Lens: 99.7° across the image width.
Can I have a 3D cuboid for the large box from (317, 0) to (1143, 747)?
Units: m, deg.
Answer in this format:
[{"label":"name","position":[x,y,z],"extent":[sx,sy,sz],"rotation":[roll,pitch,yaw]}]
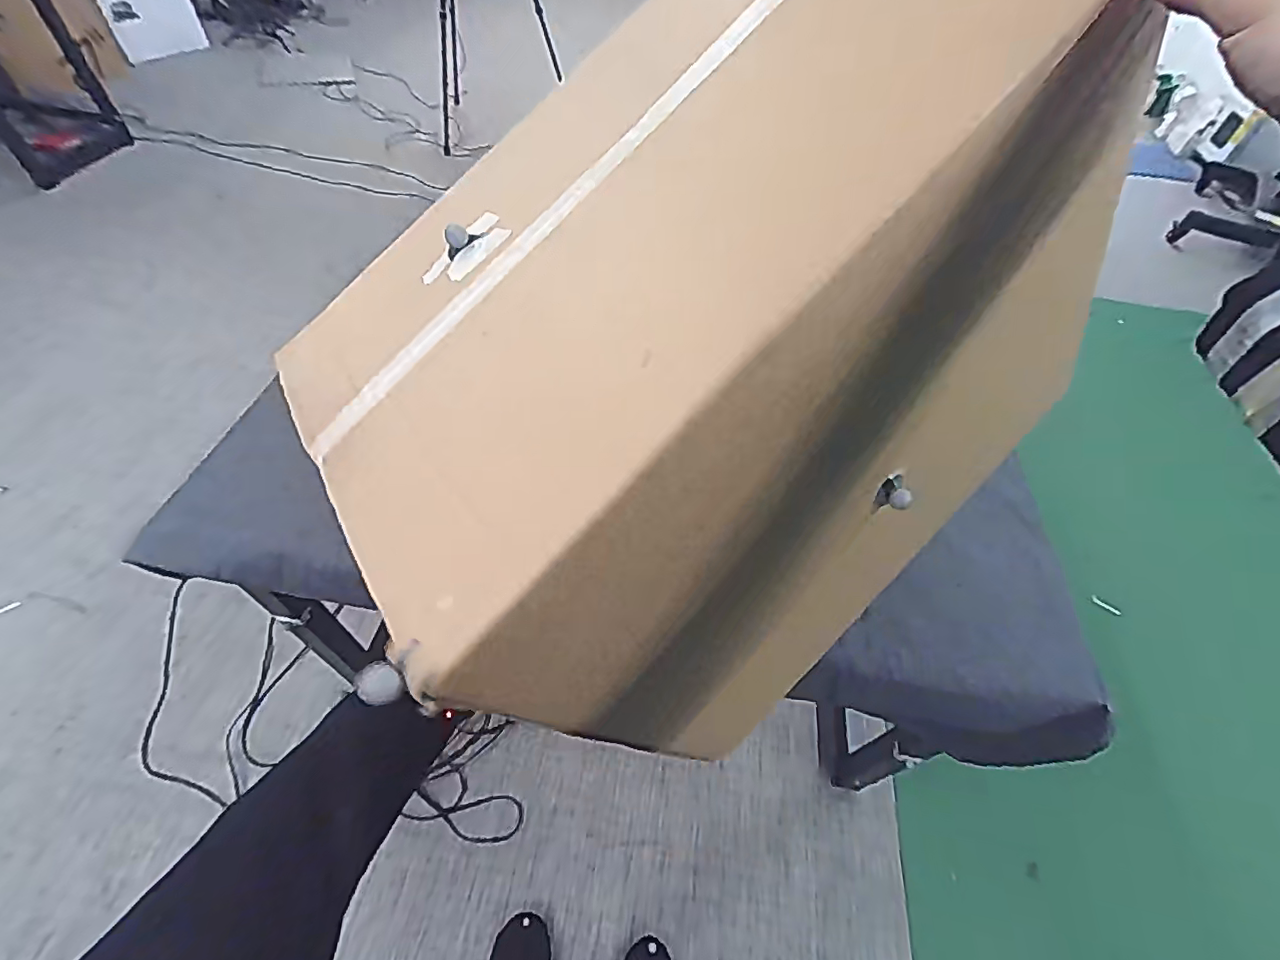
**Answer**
[{"label":"large box","position":[0.056,-0.072,0.418],"extent":[0.408,0.320,0.320],"rotation":[-48,50,-3]}]
